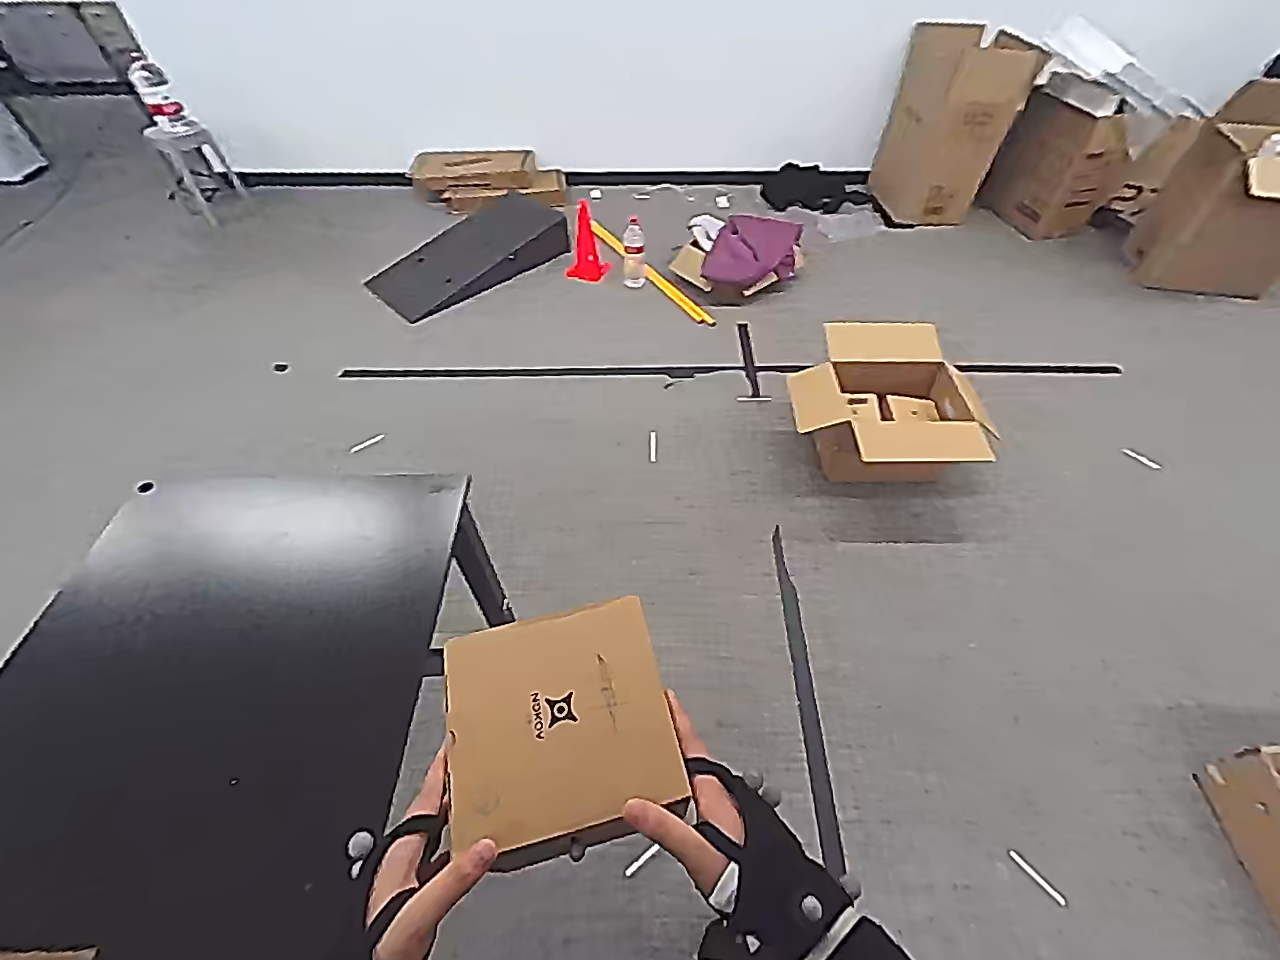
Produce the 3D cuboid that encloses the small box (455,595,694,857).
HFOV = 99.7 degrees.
[{"bbox_3d":[-0.057,0.233,0.502,0.179,0.176,0.168,-13,55,-7],"label":"small box"}]
